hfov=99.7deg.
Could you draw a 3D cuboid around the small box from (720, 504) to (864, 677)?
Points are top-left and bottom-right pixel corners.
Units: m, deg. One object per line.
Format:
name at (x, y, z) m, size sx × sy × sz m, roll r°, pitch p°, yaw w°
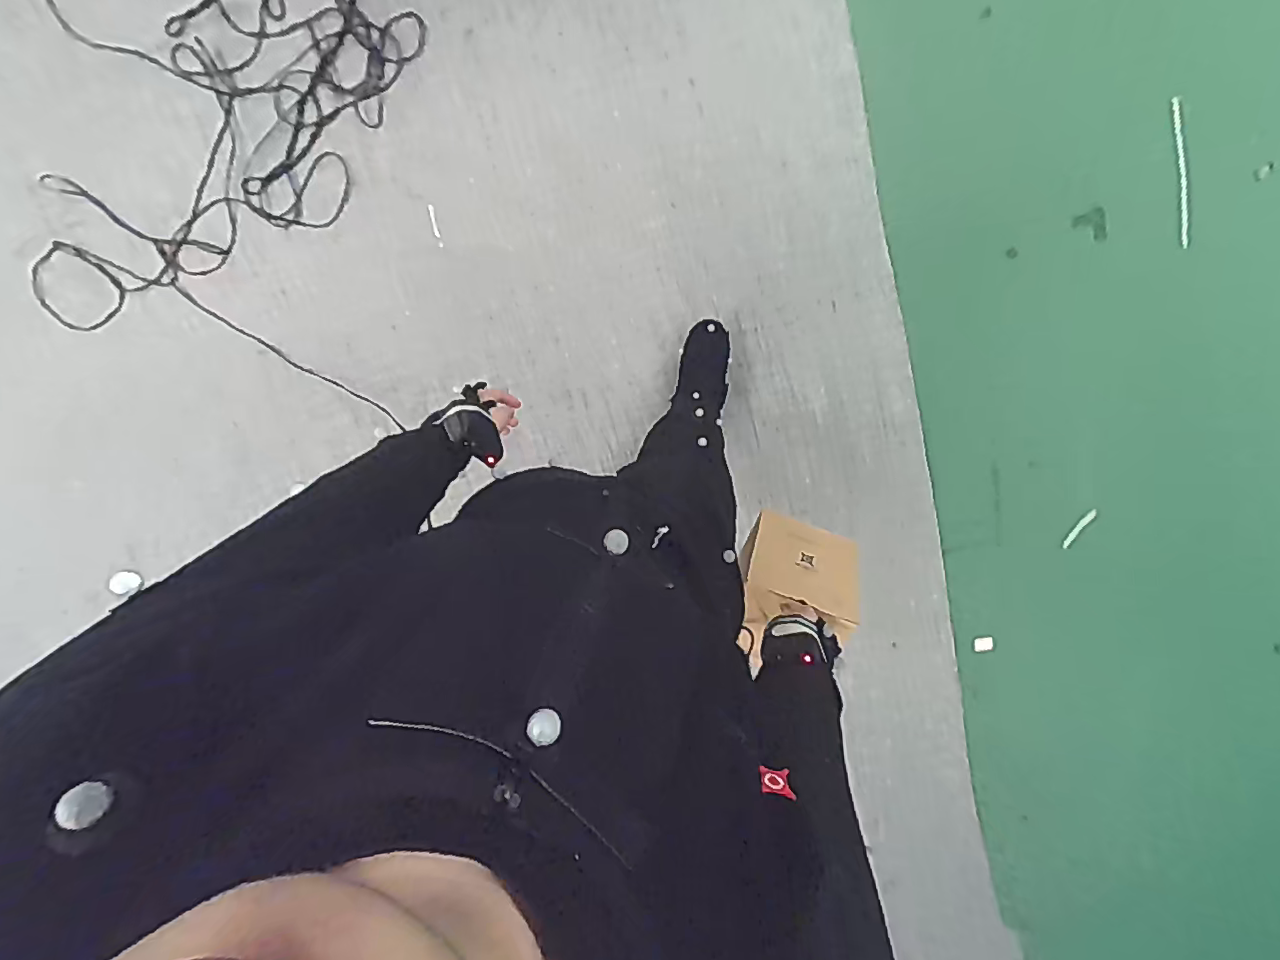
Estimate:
small box at (0.235, 0.175, 0.849) m, size 0.168 × 0.179 × 0.176 m, roll 20°, pitch 130°, yaw 6°
